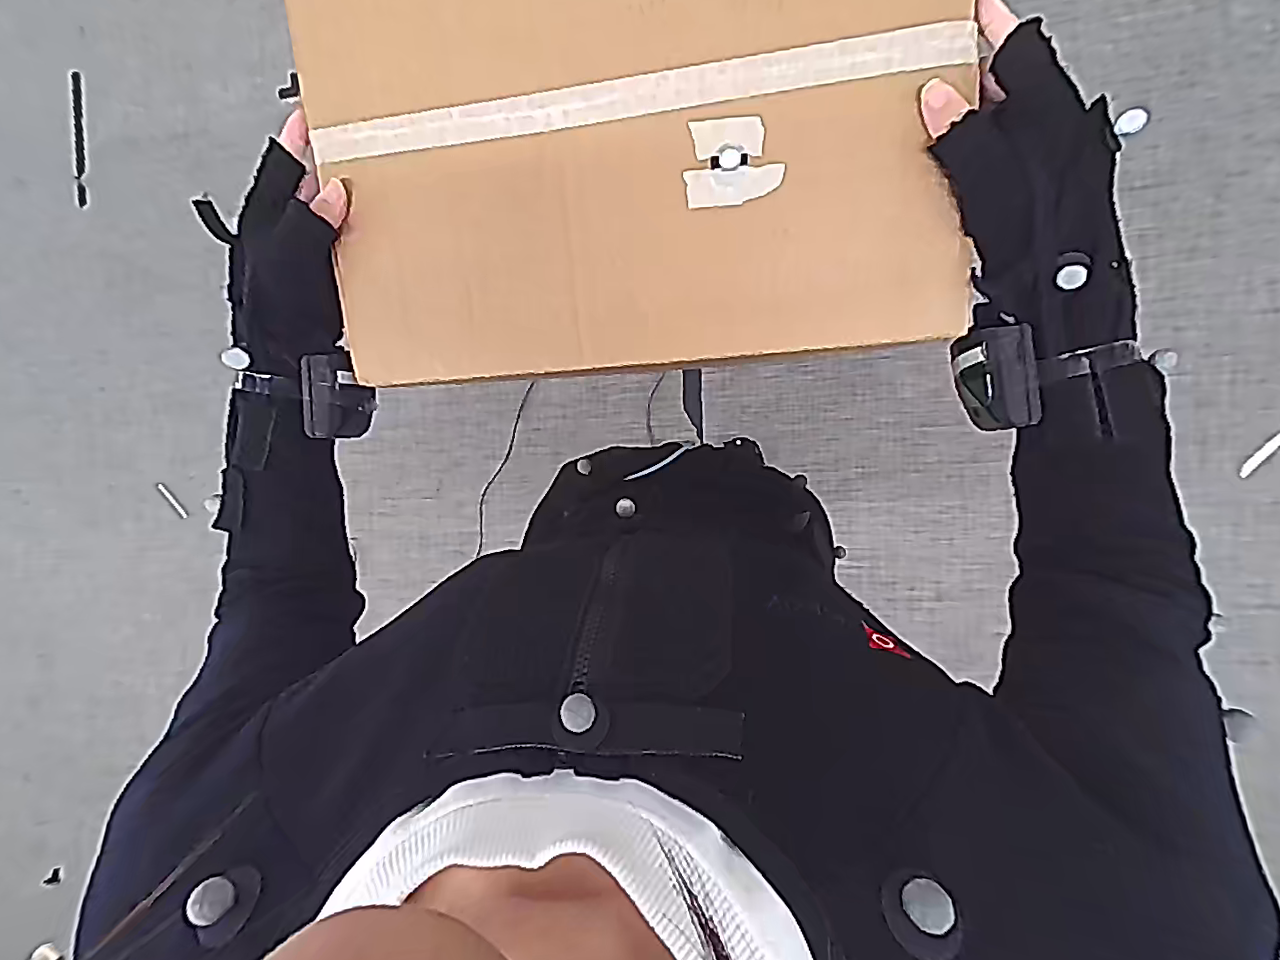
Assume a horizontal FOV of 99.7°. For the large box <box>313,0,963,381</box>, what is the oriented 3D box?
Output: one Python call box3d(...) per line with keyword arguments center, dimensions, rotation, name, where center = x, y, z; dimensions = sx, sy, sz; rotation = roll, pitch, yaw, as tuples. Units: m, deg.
box3d(center=(0.007, -0.265, 0.485), dimensions=(0.408, 0.320, 0.320), rotation=(-4, 101, 8), name="large box")
